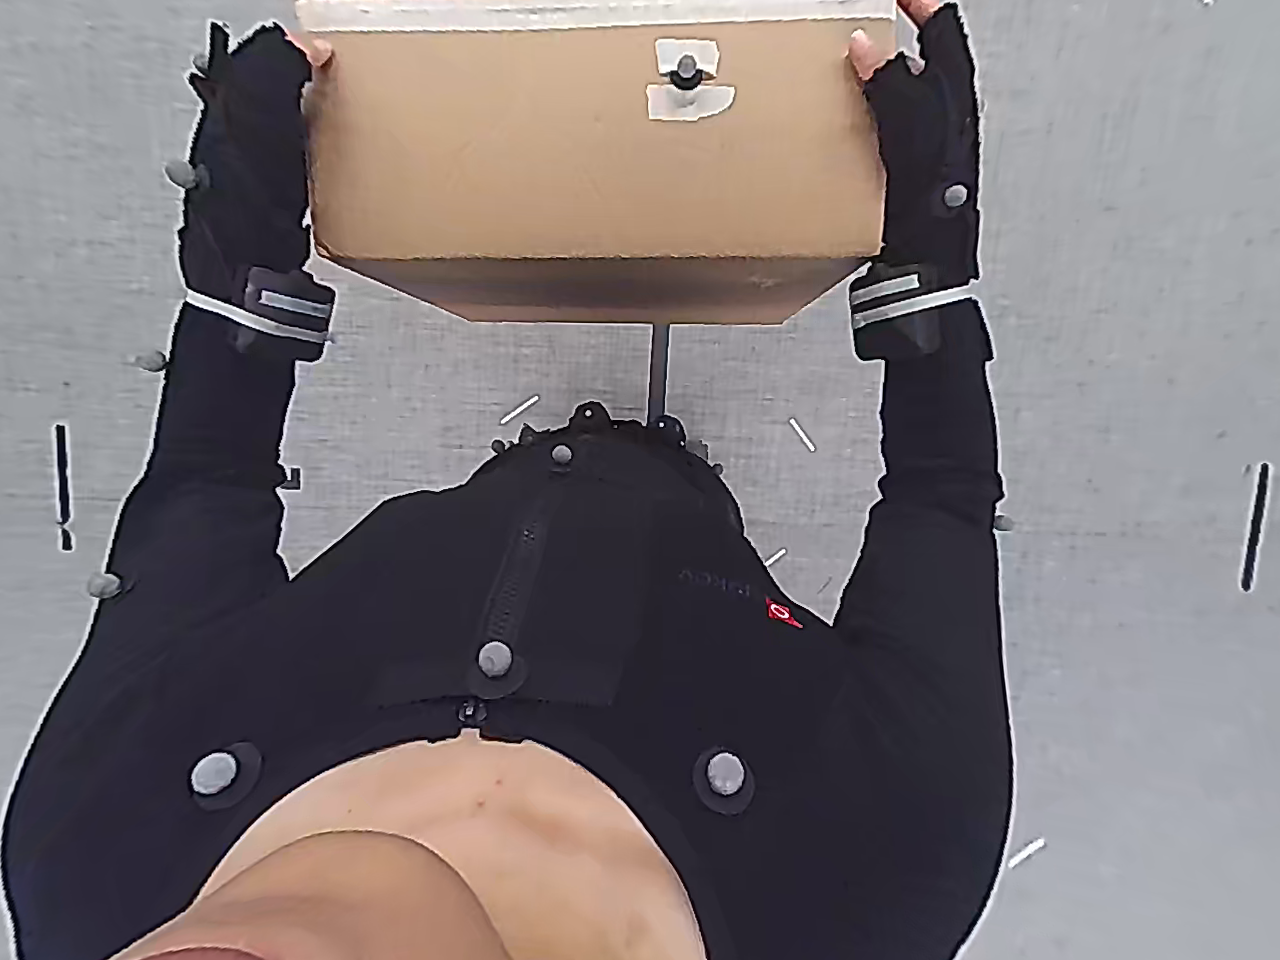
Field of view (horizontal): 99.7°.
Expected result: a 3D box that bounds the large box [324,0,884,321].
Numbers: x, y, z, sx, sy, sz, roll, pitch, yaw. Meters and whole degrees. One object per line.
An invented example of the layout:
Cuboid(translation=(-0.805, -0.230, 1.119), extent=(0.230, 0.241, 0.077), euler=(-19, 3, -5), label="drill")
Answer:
Cuboid(translation=(-0.025, -0.341, 0.528), extent=(0.408, 0.320, 0.320), euler=(1, 98, 2), label="large box")

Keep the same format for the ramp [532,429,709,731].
Cuboid(translation=(-0.062, 0.341, 1.626), extent=(0.509, 0.206, 0.991), euler=(0, 98, 0), label="ramp")
